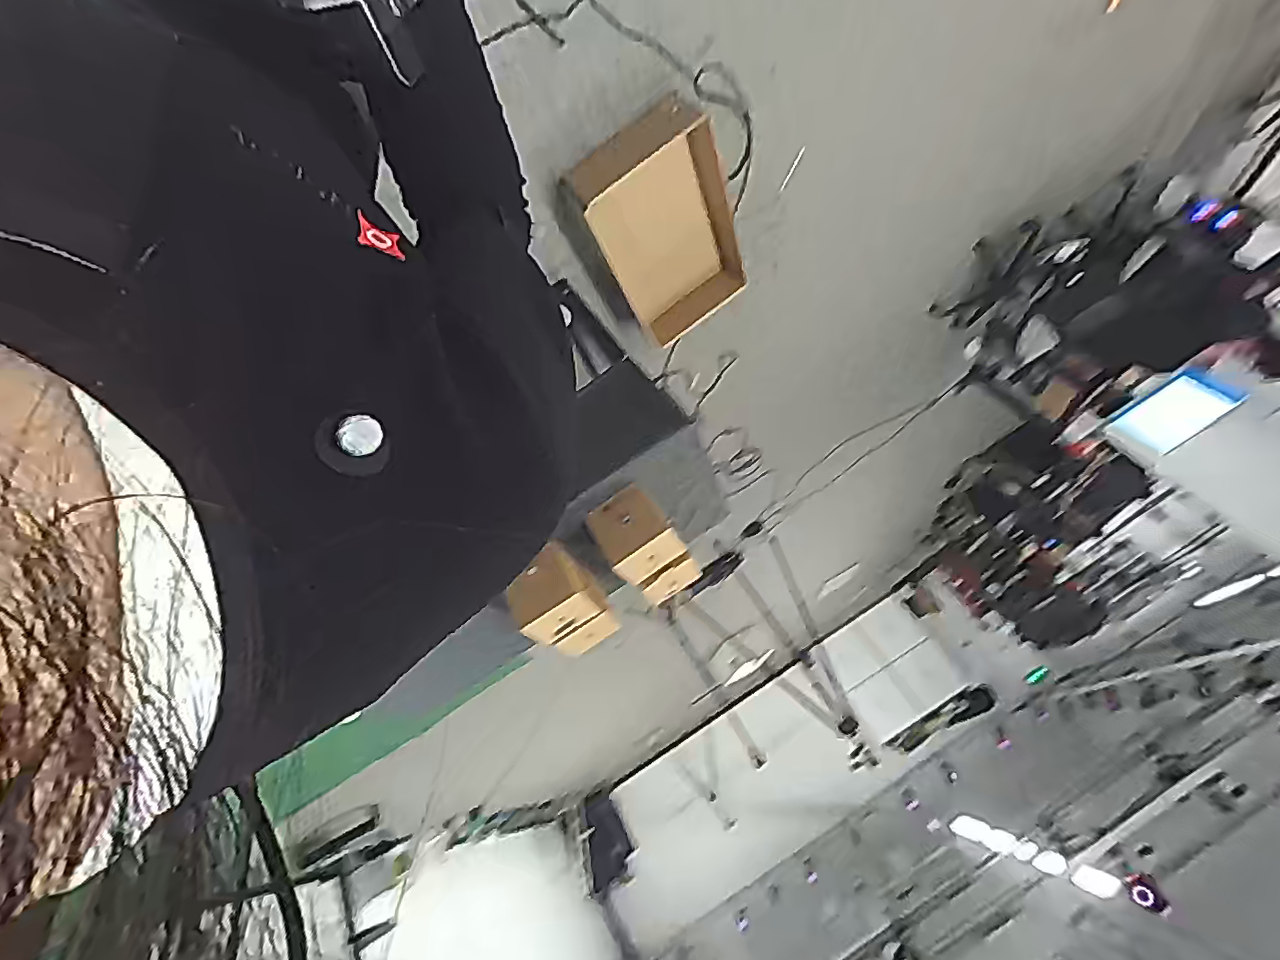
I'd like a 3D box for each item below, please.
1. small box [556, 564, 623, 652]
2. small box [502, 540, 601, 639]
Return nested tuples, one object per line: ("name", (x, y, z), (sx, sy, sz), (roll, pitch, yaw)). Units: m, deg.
("small box", (-0.175, 0.370, 1.571), (0.168, 0.176, 0.179), (-33, 148, -4))
("small box", (-0.227, 0.281, 1.394), (0.168, 0.176, 0.179), (-33, 149, -4))
